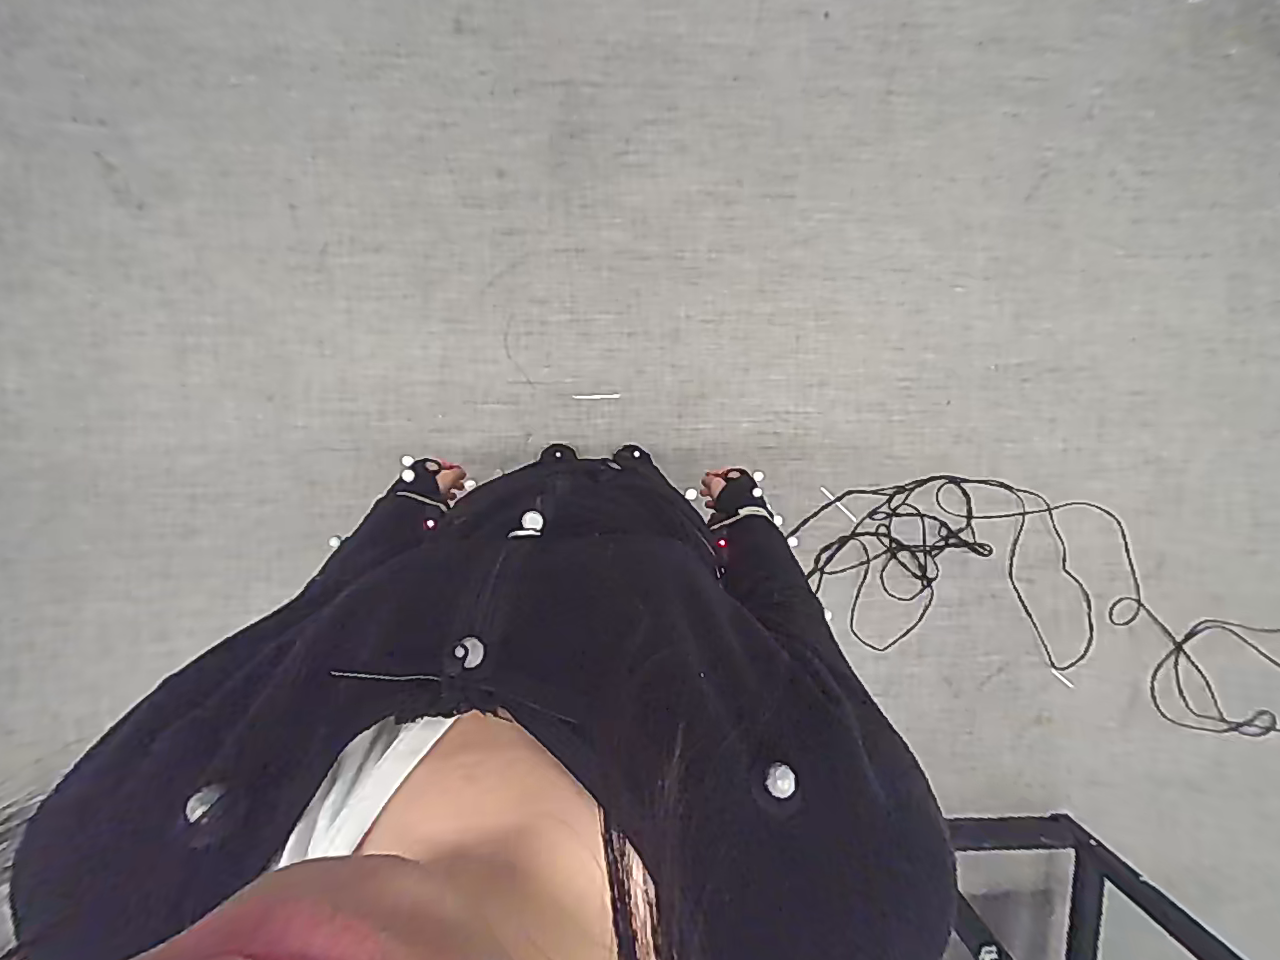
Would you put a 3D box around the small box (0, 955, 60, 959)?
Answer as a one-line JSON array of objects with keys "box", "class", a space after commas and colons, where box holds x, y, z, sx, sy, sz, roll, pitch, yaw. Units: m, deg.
[{"box": [-1.740, 1.435, 1.460, 0.179, 0.176, 0.168, 2, 95, -4], "class": "small box"}]
